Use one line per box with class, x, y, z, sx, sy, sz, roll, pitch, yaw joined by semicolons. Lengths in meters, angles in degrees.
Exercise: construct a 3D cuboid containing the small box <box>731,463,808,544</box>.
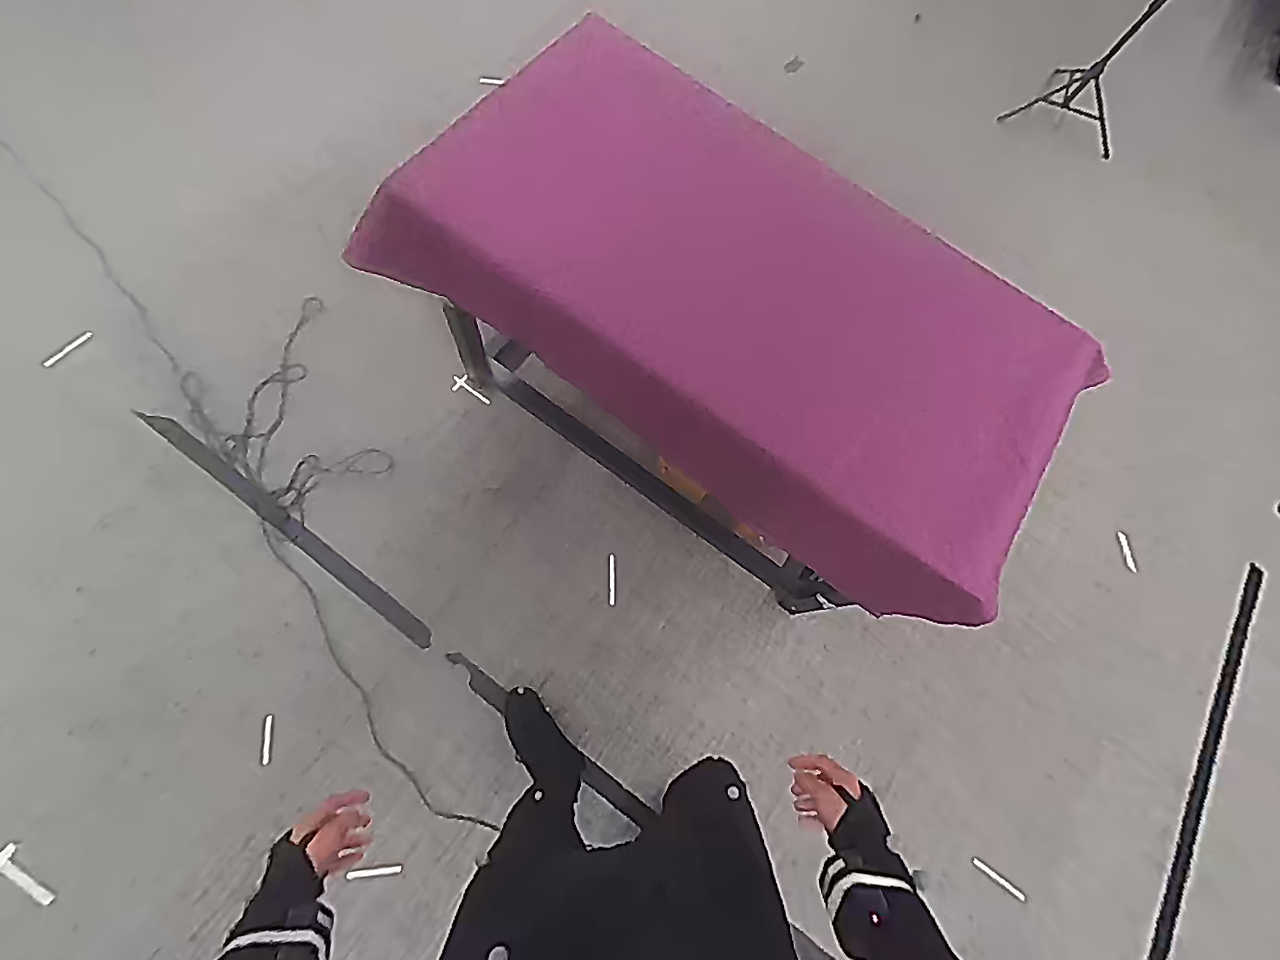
small box;0.364;0.071;1.540;0.168;0.176;0.179;9;71;-4
